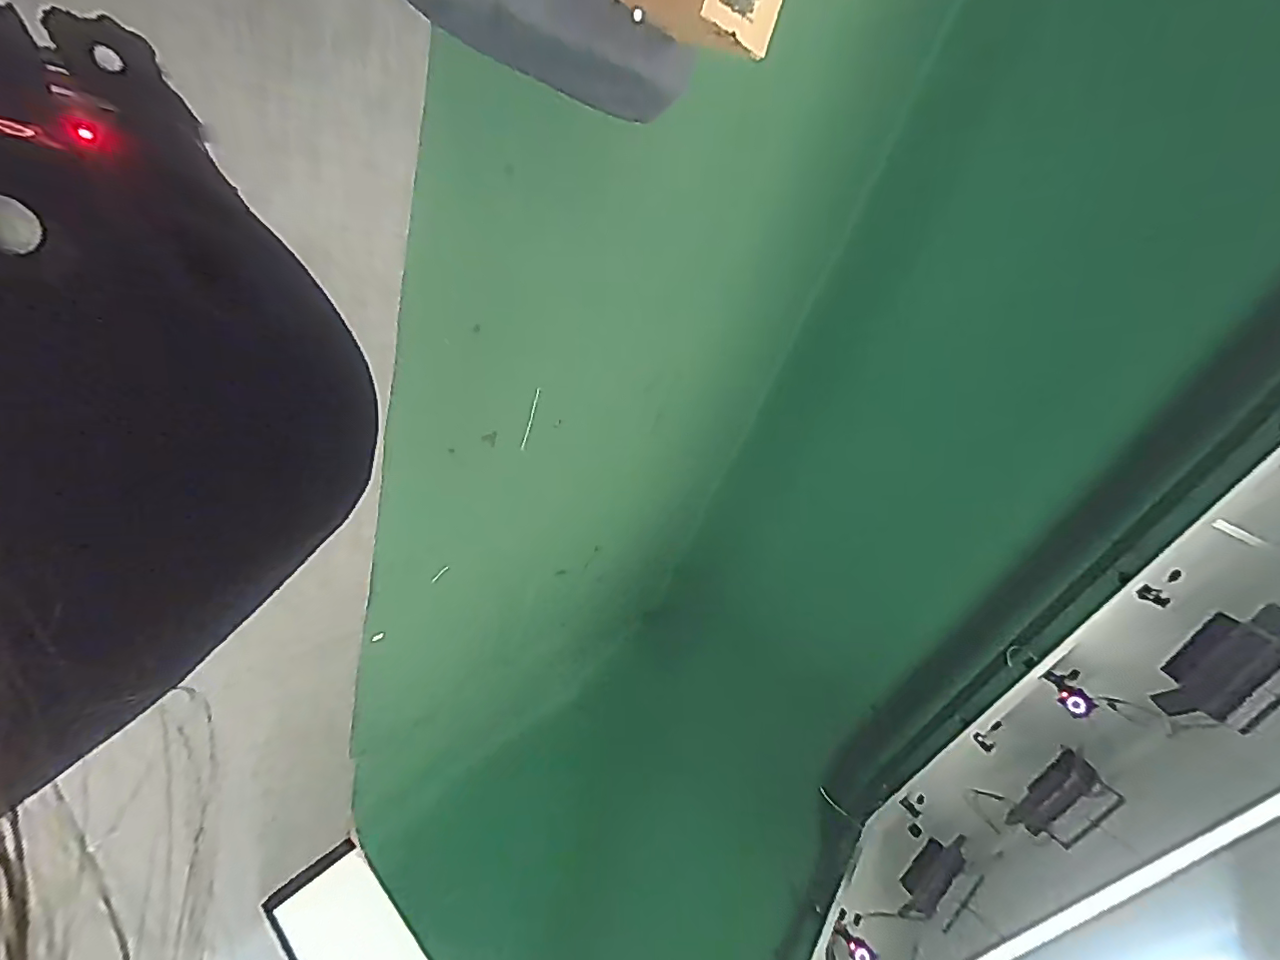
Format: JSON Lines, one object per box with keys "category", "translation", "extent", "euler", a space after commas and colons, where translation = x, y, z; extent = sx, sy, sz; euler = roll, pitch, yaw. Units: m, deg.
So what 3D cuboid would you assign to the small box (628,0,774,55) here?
{"category": "small box", "translation": [0.085, -0.721, 0.729], "extent": [0.168, 0.176, 0.179], "euler": [-19, 138, -49]}
